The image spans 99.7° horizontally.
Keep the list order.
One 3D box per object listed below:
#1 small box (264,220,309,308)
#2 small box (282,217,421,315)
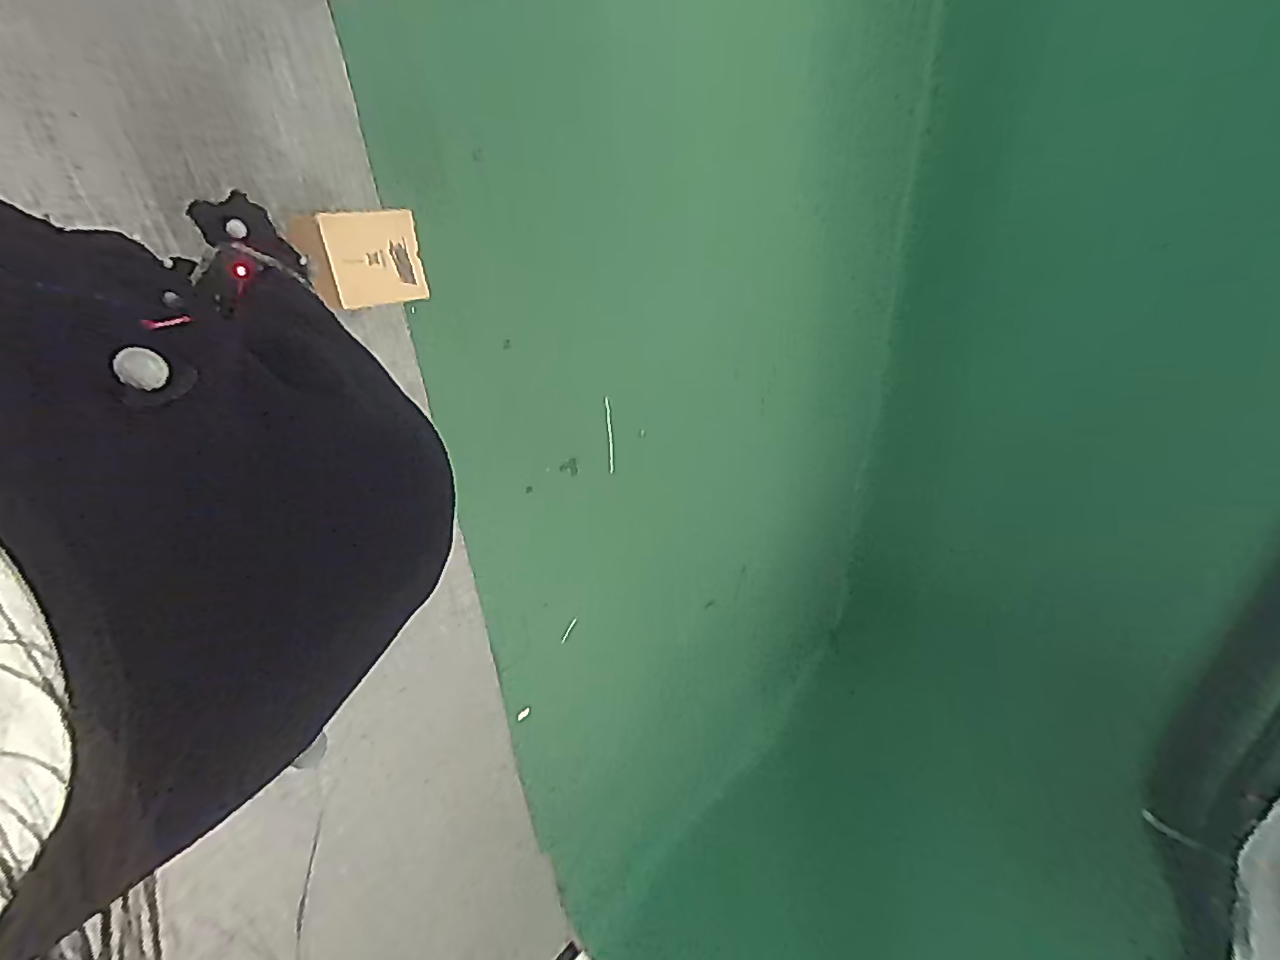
[{"bbox_3d":[-0.682,-0.481,1.186,0.179,0.176,0.168,-28,125,-37],"label":"small box"},{"bbox_3d":[-0.571,-0.430,1.075,0.179,0.176,0.168,-26,123,-39],"label":"small box"}]
